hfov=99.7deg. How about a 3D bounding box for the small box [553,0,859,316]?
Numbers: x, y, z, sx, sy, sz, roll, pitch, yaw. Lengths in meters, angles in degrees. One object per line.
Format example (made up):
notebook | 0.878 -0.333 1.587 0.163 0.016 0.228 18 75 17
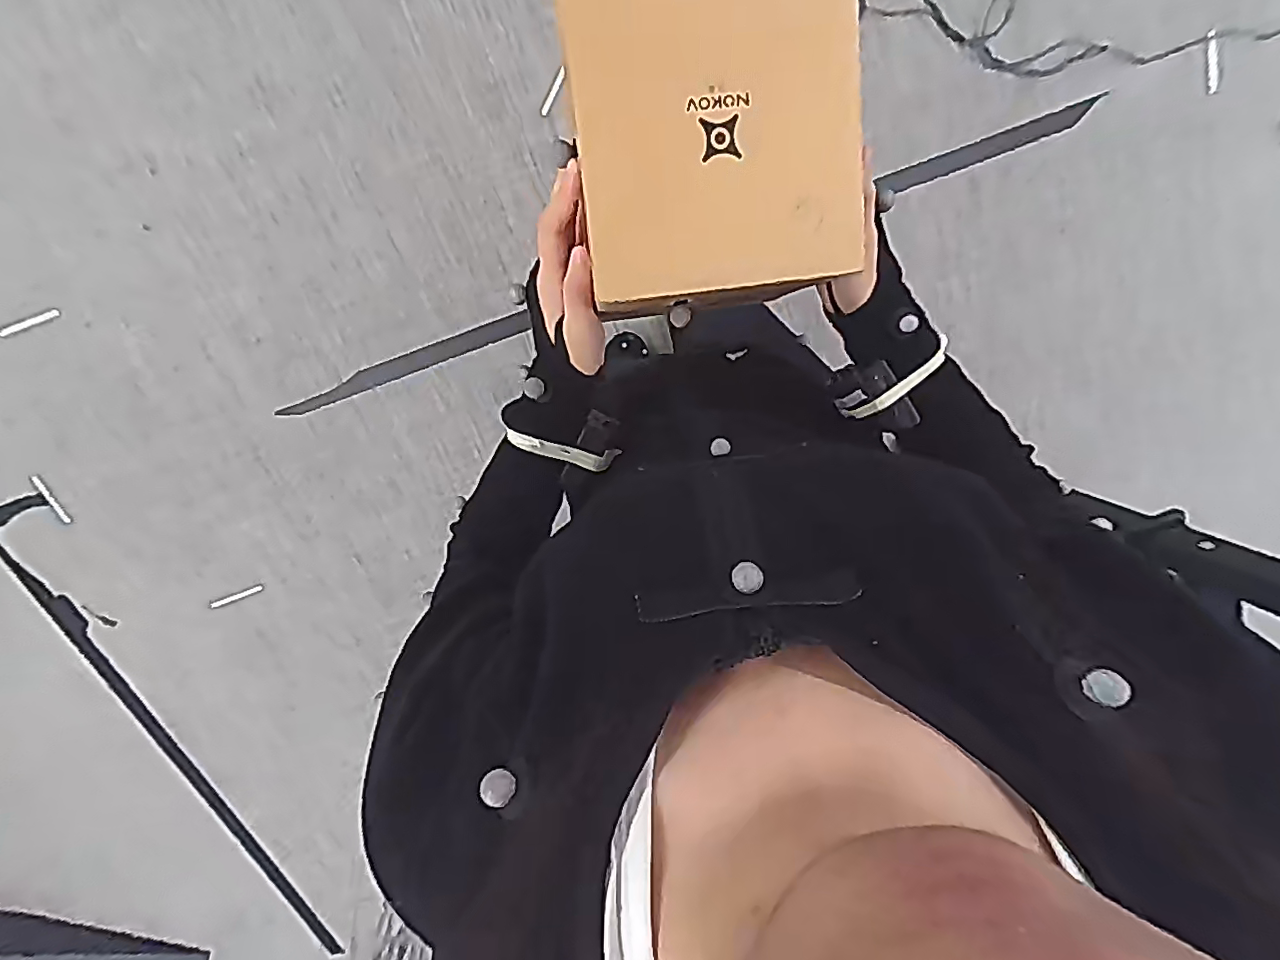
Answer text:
small box | 0.038 -0.216 0.385 0.168 0.176 0.179 -8 102 -3
